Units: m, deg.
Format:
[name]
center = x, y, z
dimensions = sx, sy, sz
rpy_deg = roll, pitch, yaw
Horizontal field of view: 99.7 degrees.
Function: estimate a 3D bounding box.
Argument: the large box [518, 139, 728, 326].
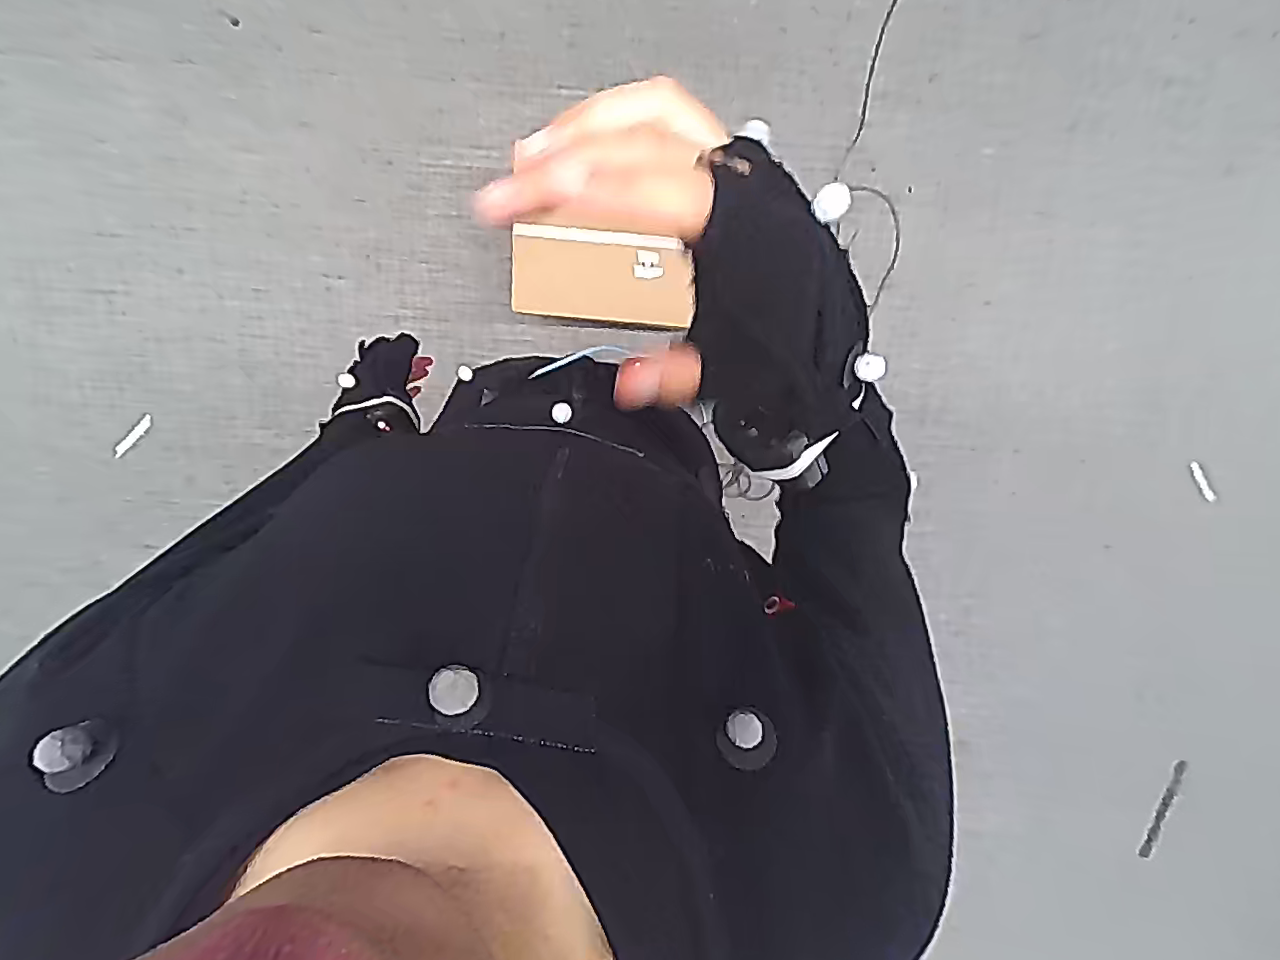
[large box]
center = -0.045, -0.519, 1.205
dimensions = 0.408, 0.320, 0.320
rpy_deg = 5, 106, -3
